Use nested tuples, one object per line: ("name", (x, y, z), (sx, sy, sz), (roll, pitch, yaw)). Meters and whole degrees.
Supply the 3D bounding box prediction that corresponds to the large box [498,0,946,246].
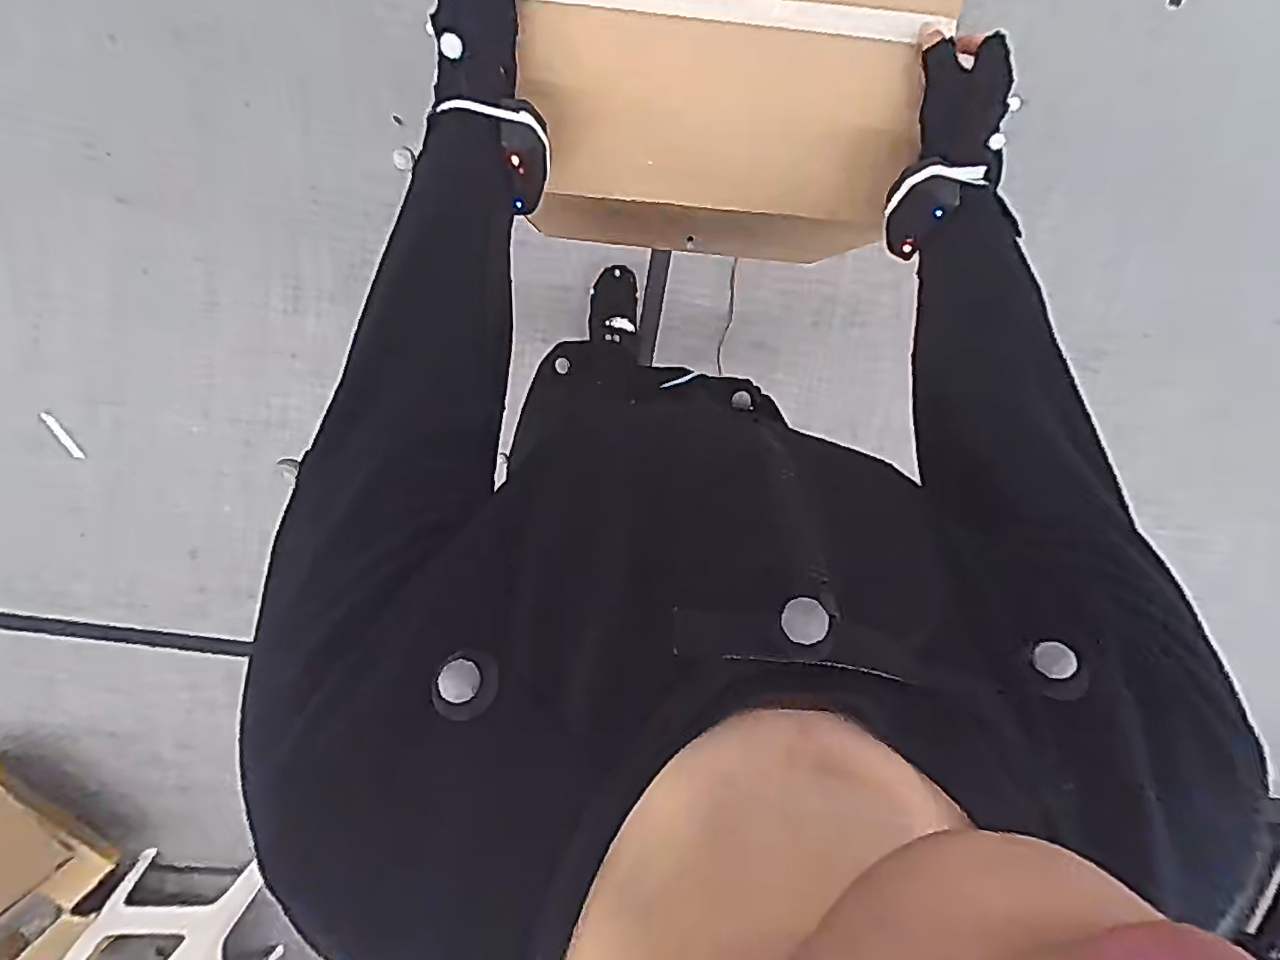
("large box", (0.072, -0.463, 0.623), (0.408, 0.320, 0.320), (4, 105, -3))
